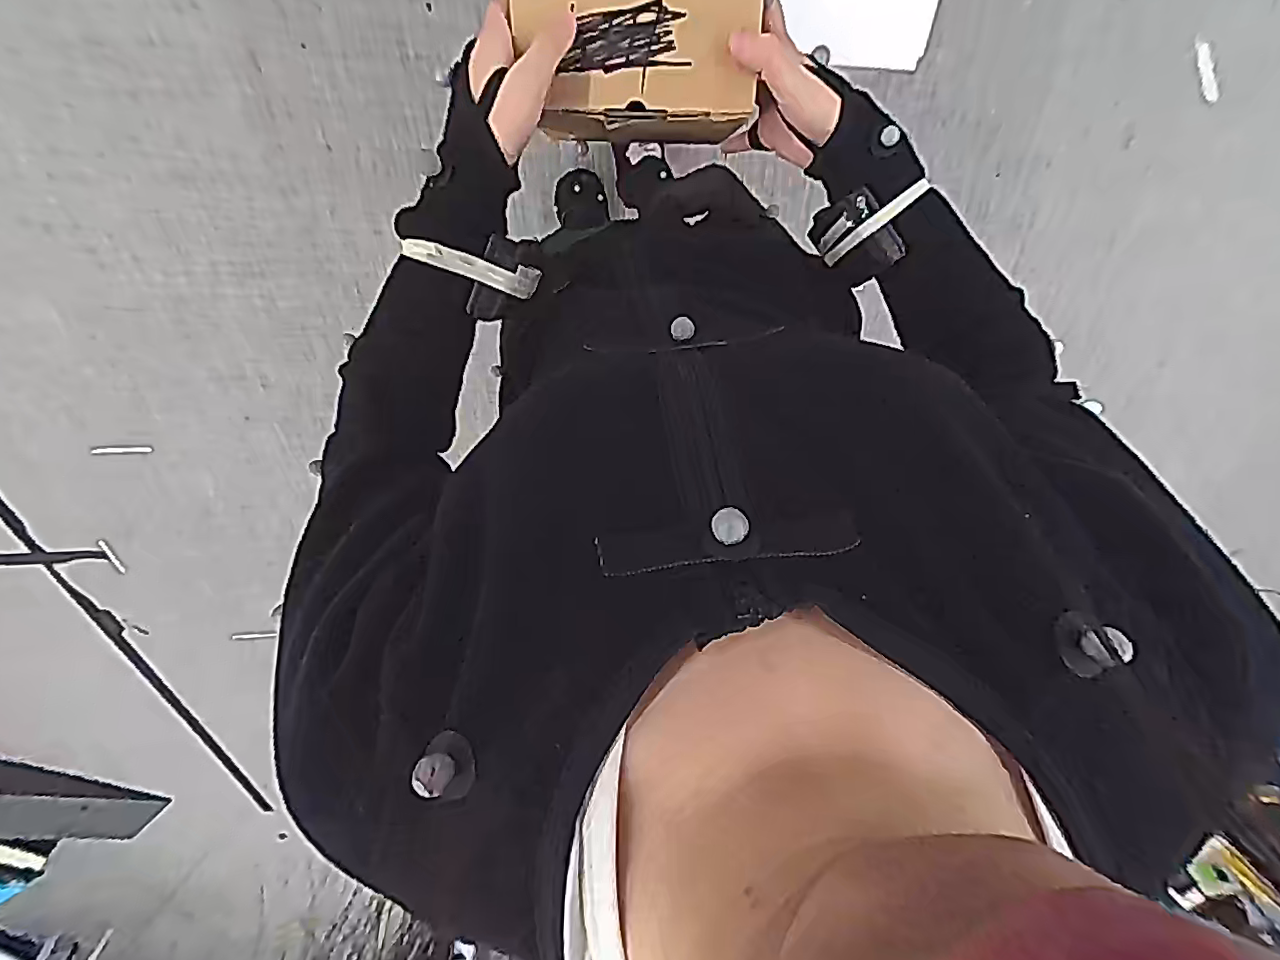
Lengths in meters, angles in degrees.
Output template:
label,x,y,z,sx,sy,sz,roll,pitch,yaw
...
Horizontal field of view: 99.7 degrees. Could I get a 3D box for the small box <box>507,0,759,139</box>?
label,x,y,z,sx,sy,sz,roll,pitch,yaw
small box,-0.002,-0.368,0.406,0.168,0.176,0.179,1,115,-1
